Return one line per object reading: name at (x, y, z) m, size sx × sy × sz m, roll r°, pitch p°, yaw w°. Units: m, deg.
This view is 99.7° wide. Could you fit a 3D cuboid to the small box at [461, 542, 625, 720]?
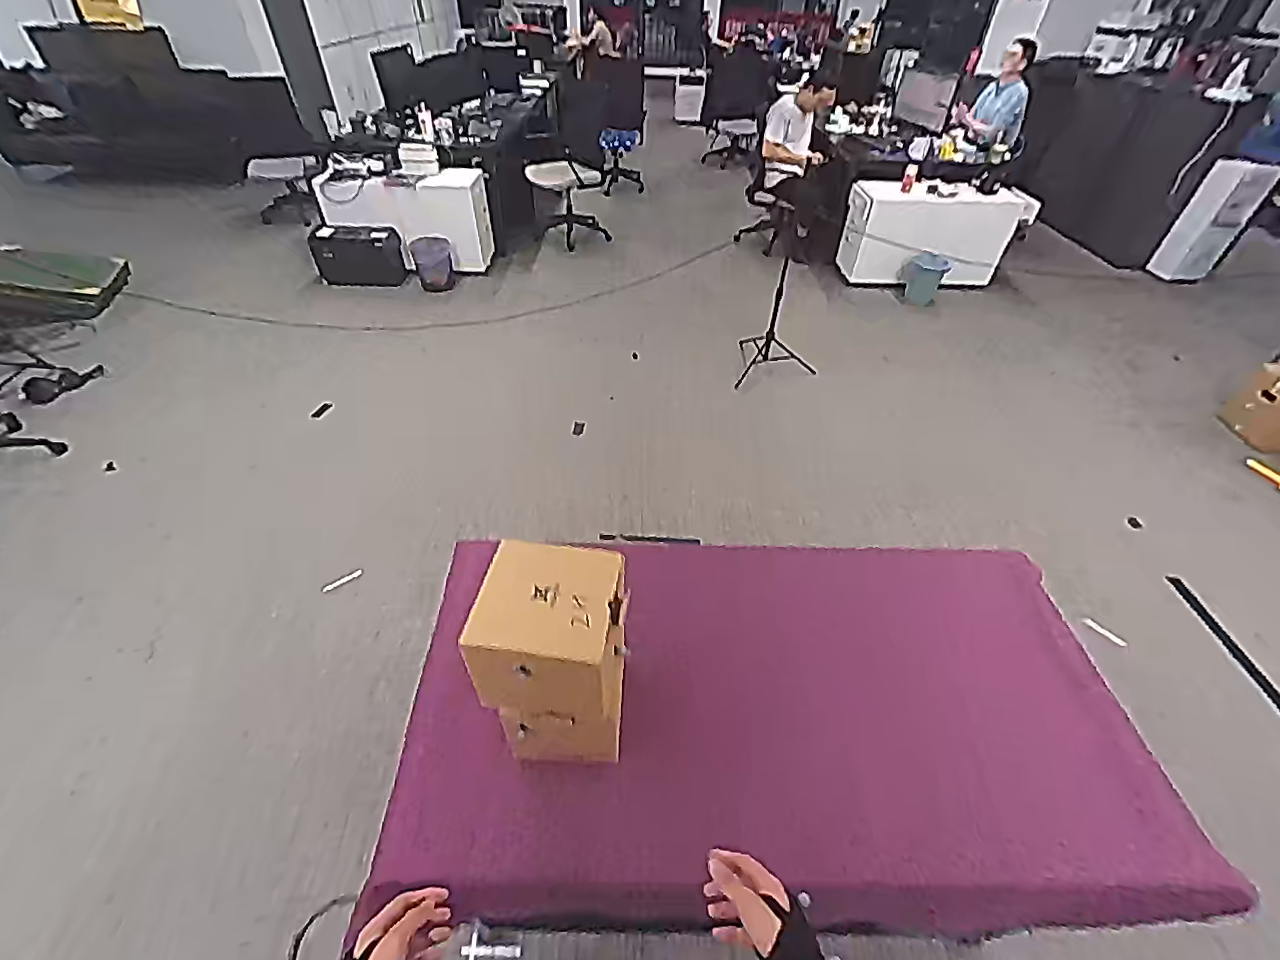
small box at (-0.120, 0.210, 0.748) m, size 0.179 × 0.176 × 0.168 m, roll 7°, pitch 43°, yaw 5°
